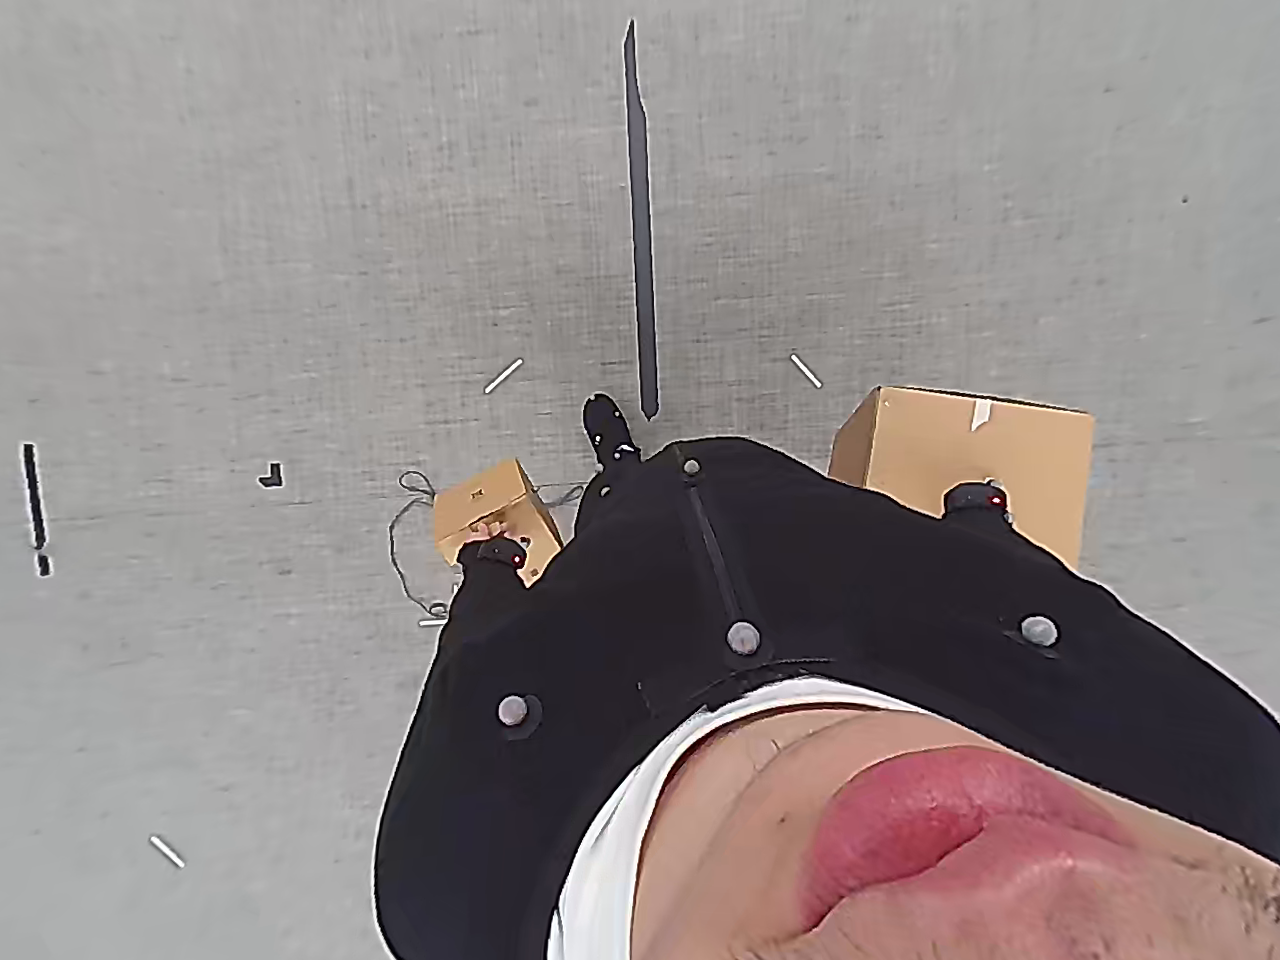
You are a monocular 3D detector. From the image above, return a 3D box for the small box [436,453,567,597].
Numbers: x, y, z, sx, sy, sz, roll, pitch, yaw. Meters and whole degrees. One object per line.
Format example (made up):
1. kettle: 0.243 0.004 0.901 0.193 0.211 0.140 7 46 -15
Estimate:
1. small box: -0.249 0.086 0.979 0.168 0.179 0.176 -28 121 -5
